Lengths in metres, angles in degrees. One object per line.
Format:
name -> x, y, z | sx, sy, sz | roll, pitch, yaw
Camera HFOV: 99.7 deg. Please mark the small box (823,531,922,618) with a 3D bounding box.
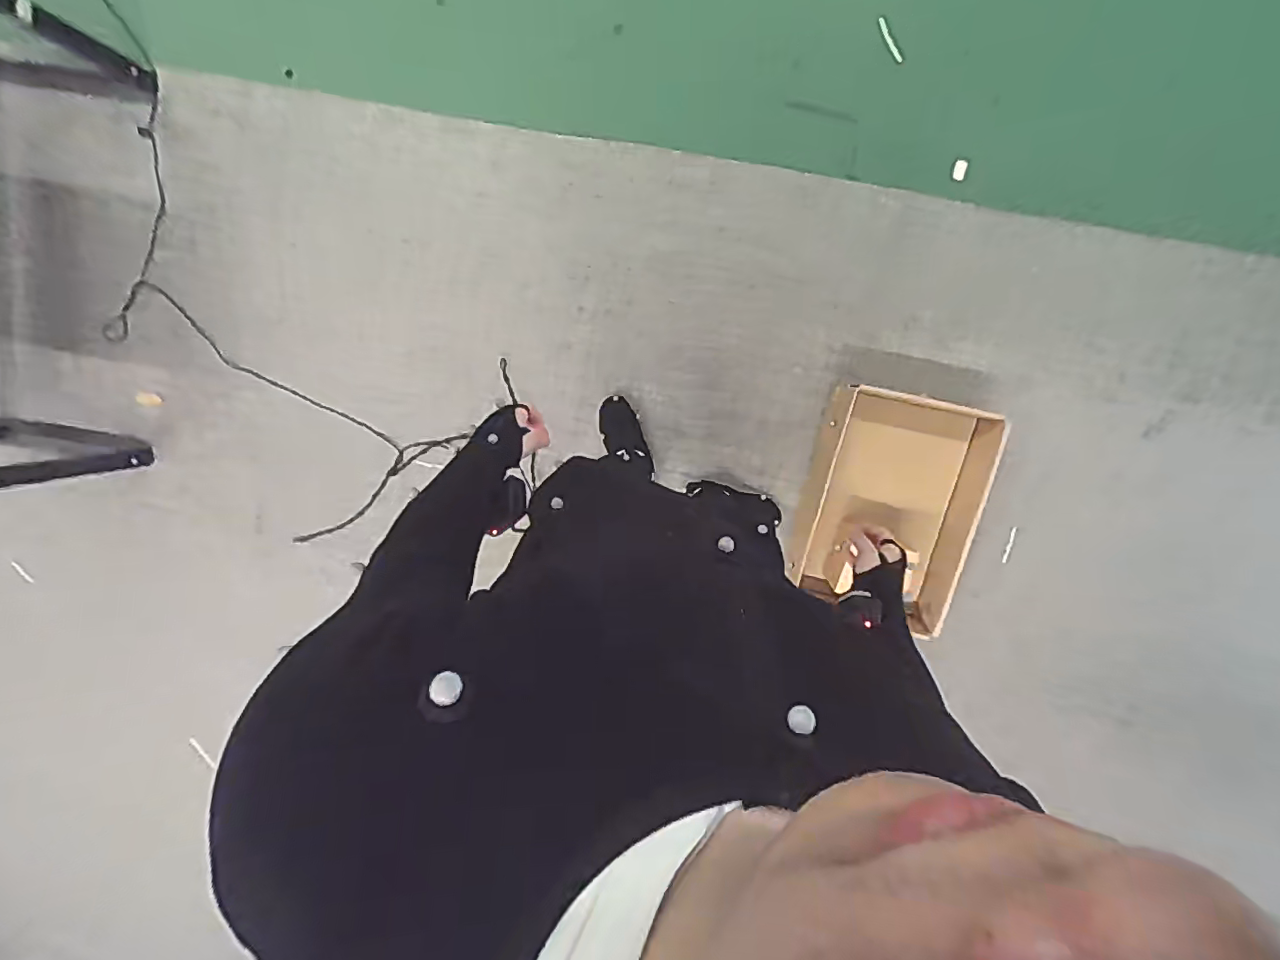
small box -> 0.619, 0.247, 1.467 | 0.179, 0.176, 0.168 | 17, 99, 2
